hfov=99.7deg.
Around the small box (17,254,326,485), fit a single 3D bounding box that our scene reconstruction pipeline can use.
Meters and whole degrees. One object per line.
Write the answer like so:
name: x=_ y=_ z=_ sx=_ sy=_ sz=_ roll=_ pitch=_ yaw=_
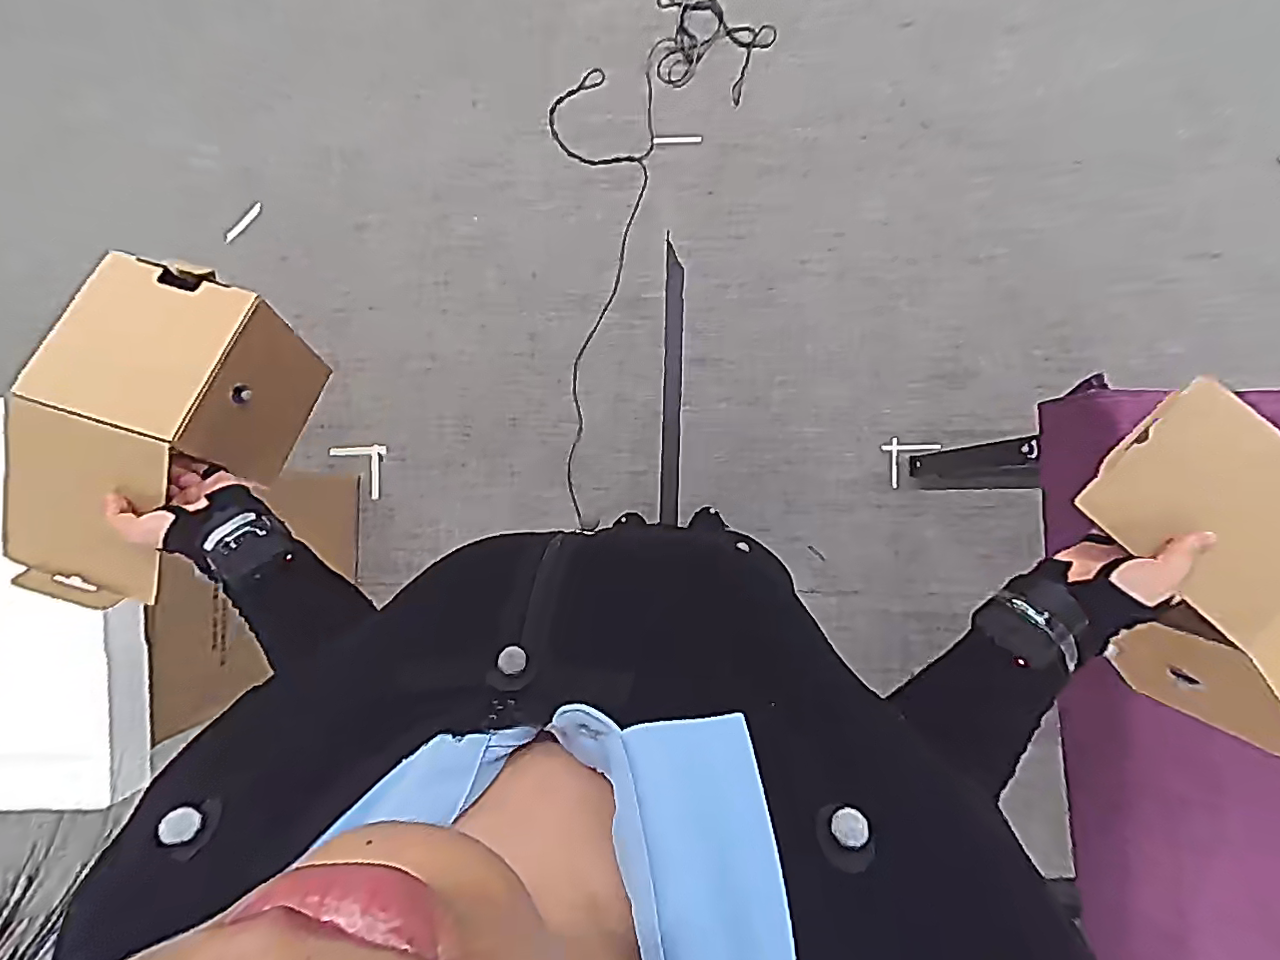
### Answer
small box: x=-0.498 y=-0.111 z=0.613 sx=0.168 sy=0.176 sz=0.179 roll=17 pitch=72 yaw=0
